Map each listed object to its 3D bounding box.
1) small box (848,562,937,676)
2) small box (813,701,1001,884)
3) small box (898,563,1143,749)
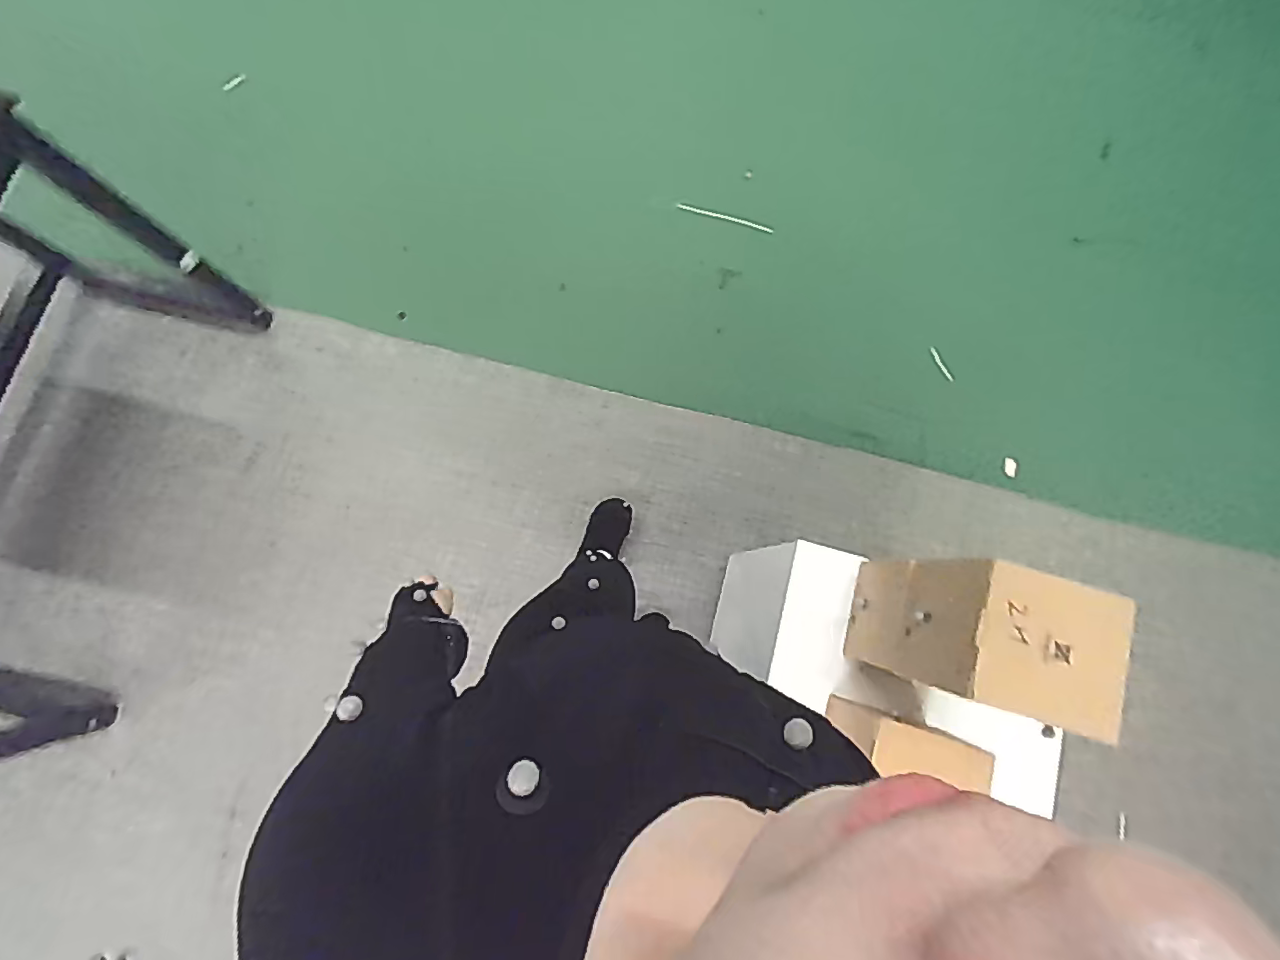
[{"bbox_3d":[0.457,0.231,0.849,0.179,0.176,0.168,16,80,1],"label":"small box"},{"bbox_3d":[0.386,0.447,0.807,0.179,0.176,0.168,18,78,1],"label":"small box"},{"bbox_3d":[0.467,0.208,0.686,0.179,0.176,0.168,18,80,1],"label":"small box"}]
